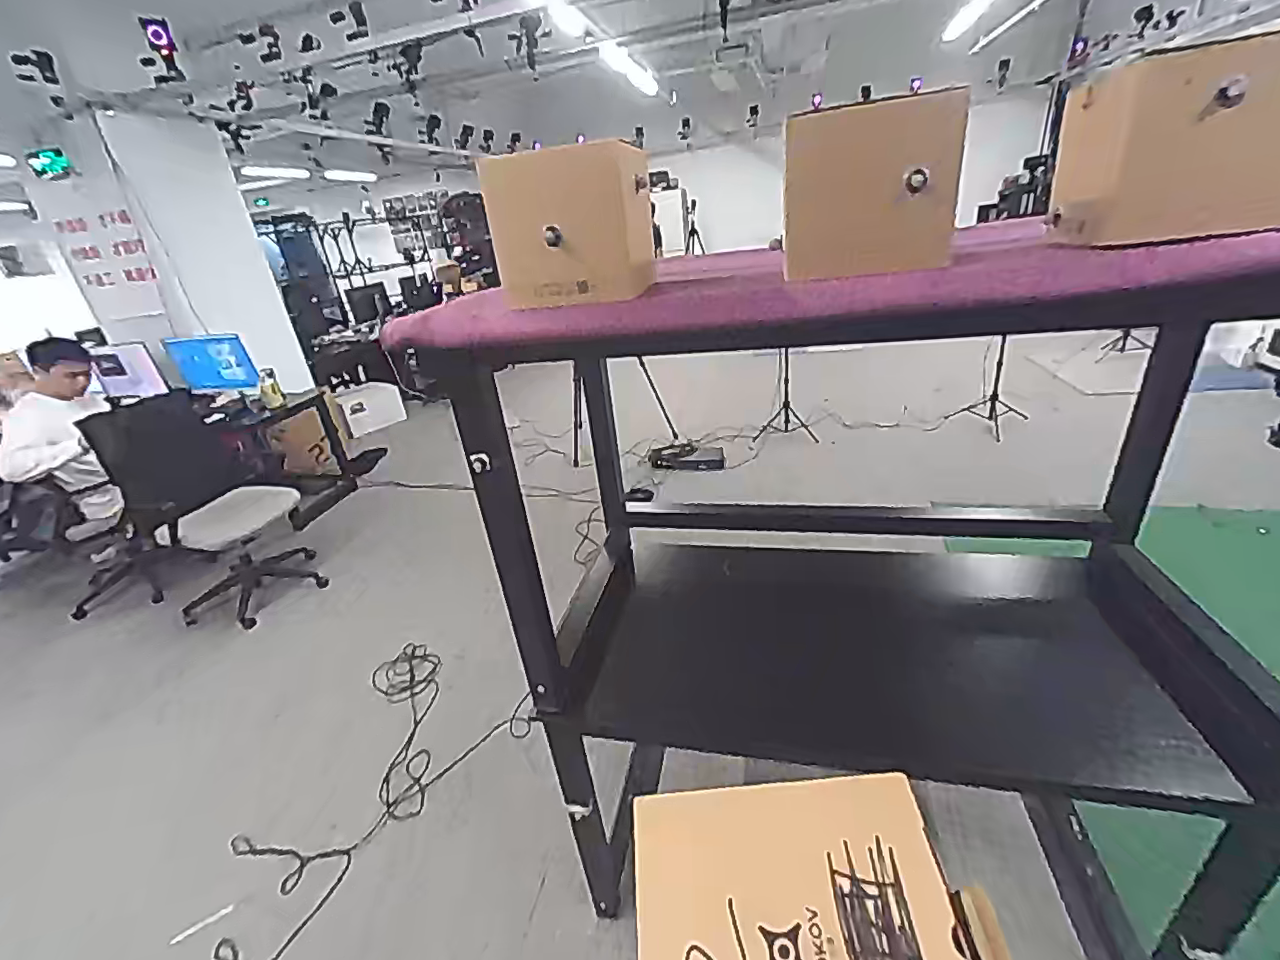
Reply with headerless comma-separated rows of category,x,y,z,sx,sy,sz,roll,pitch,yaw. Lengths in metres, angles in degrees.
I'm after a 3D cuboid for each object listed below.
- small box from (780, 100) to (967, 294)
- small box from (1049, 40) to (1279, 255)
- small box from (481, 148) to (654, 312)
small box,0.259,-0.327,0.646,0.179,0.176,0.168,-1,25,14
small box,0.577,-0.343,0.586,0.179,0.176,0.168,1,24,16
small box,-0.078,-0.317,0.702,0.168,0.176,0.179,0,26,12
